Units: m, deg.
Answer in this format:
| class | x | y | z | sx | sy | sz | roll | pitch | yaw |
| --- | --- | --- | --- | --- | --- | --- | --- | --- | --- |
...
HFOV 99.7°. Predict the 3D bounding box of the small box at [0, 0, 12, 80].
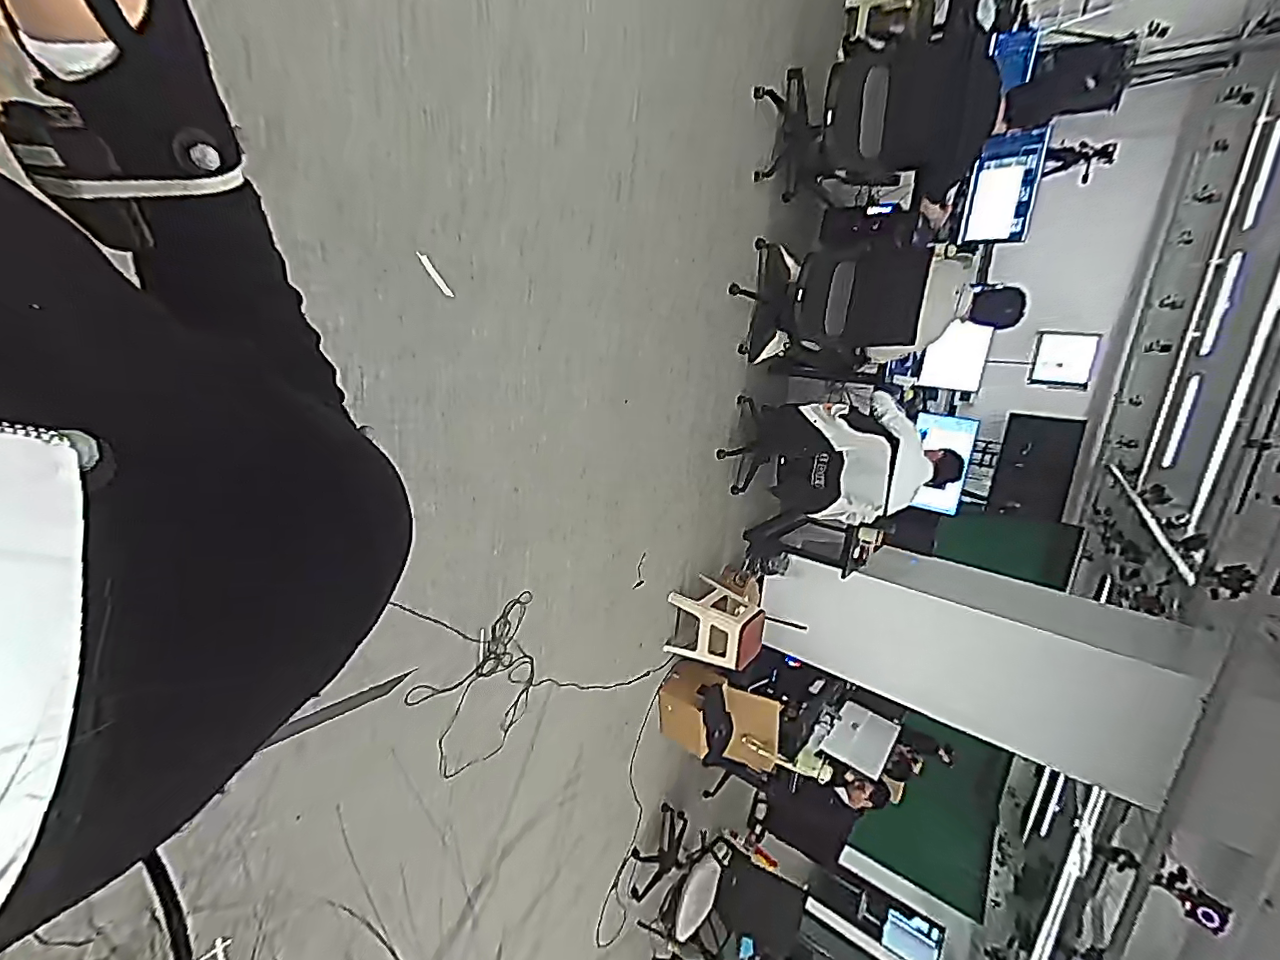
| class | x | y | z | sx | sy | sz | roll | pitch | yaw |
| --- | --- | --- | --- | --- | --- | --- | --- | --- | --- |
| small box | -0.736 | -0.498 | 0.500 | 0.179 | 0.176 | 0.168 | -9 | 111 | -55 |
